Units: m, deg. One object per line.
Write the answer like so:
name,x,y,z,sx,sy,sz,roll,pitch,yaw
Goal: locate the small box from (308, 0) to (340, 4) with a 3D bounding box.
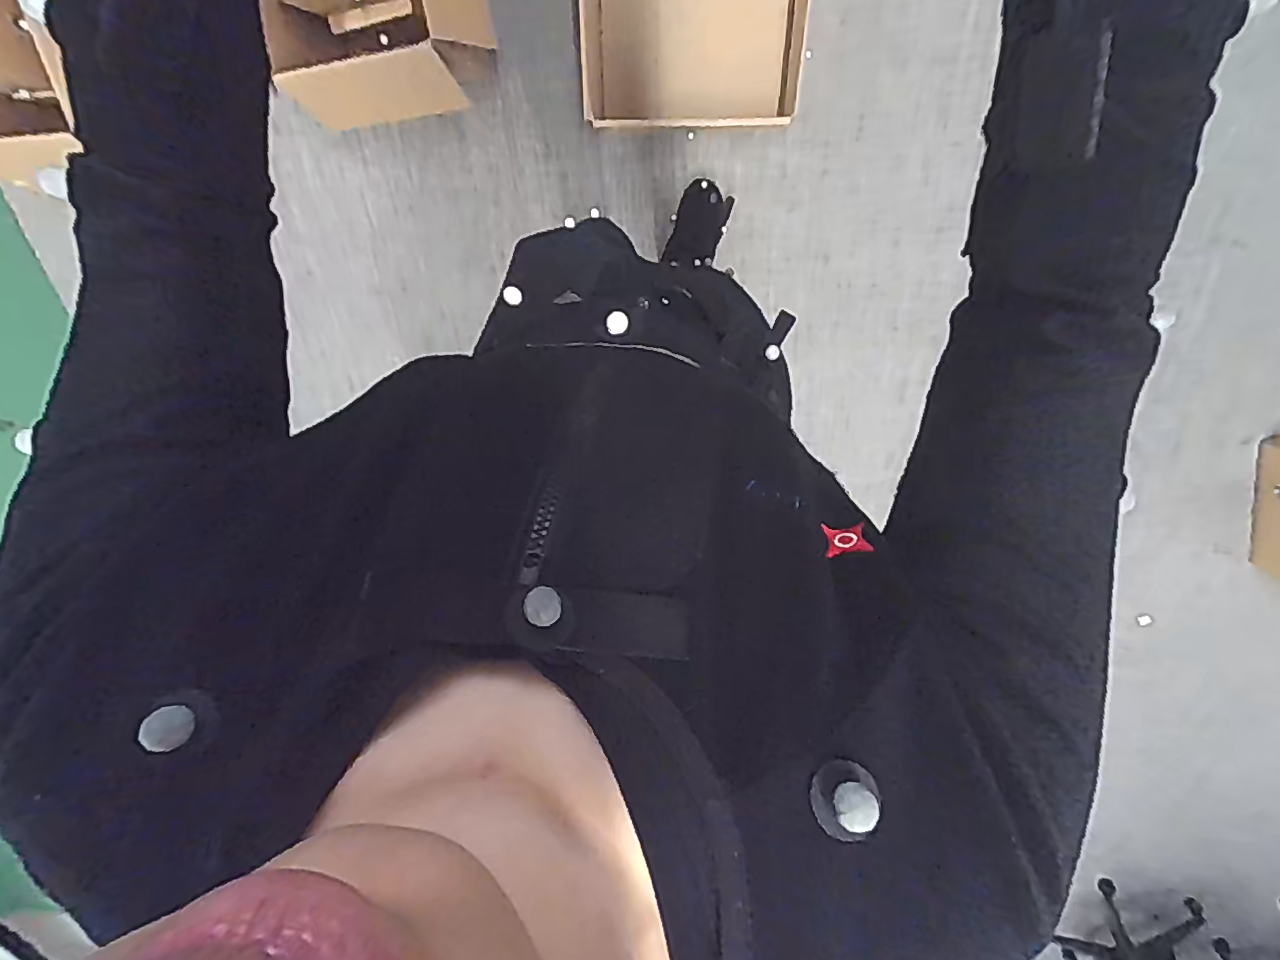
small box,-0.518,-0.887,0.850,0.168,0.176,0.179,-6,119,8
